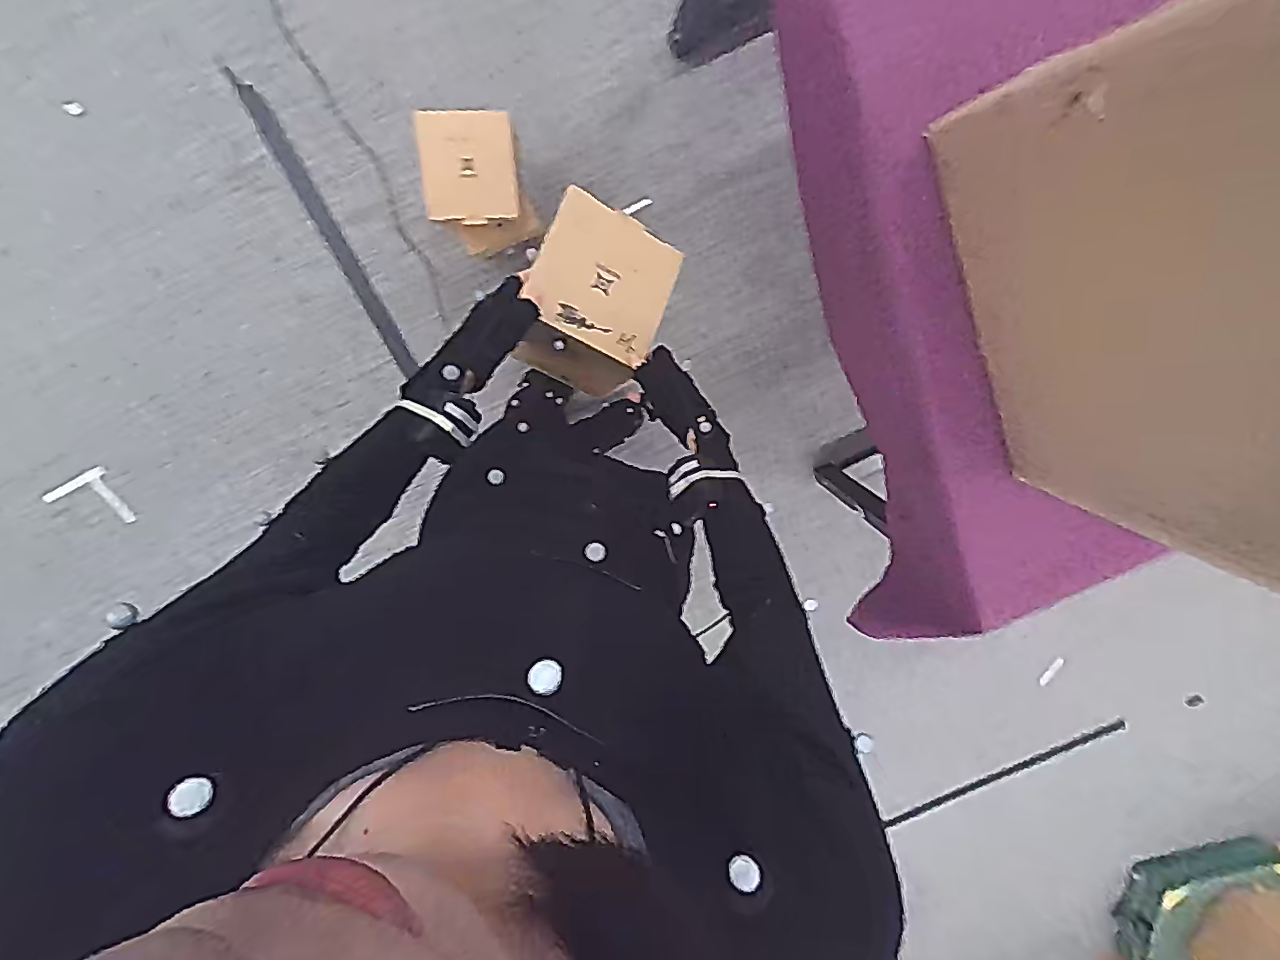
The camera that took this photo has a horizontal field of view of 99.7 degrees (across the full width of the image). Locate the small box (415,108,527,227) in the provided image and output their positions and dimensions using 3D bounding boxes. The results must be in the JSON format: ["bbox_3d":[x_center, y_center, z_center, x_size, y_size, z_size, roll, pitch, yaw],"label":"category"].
[{"bbox_3d":[-0.312,-0.587,1.036,0.168,0.176,0.179,-4,109,-6],"label":"small box"}]

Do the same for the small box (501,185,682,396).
[{"bbox_3d":[-0.073,-0.236,0.722,0.168,0.176,0.179,24,77,-19],"label":"small box"}]

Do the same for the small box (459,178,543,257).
[{"bbox_3d":[-0.325,-0.613,1.199,0.168,0.176,0.179,-22,111,2],"label":"small box"}]
